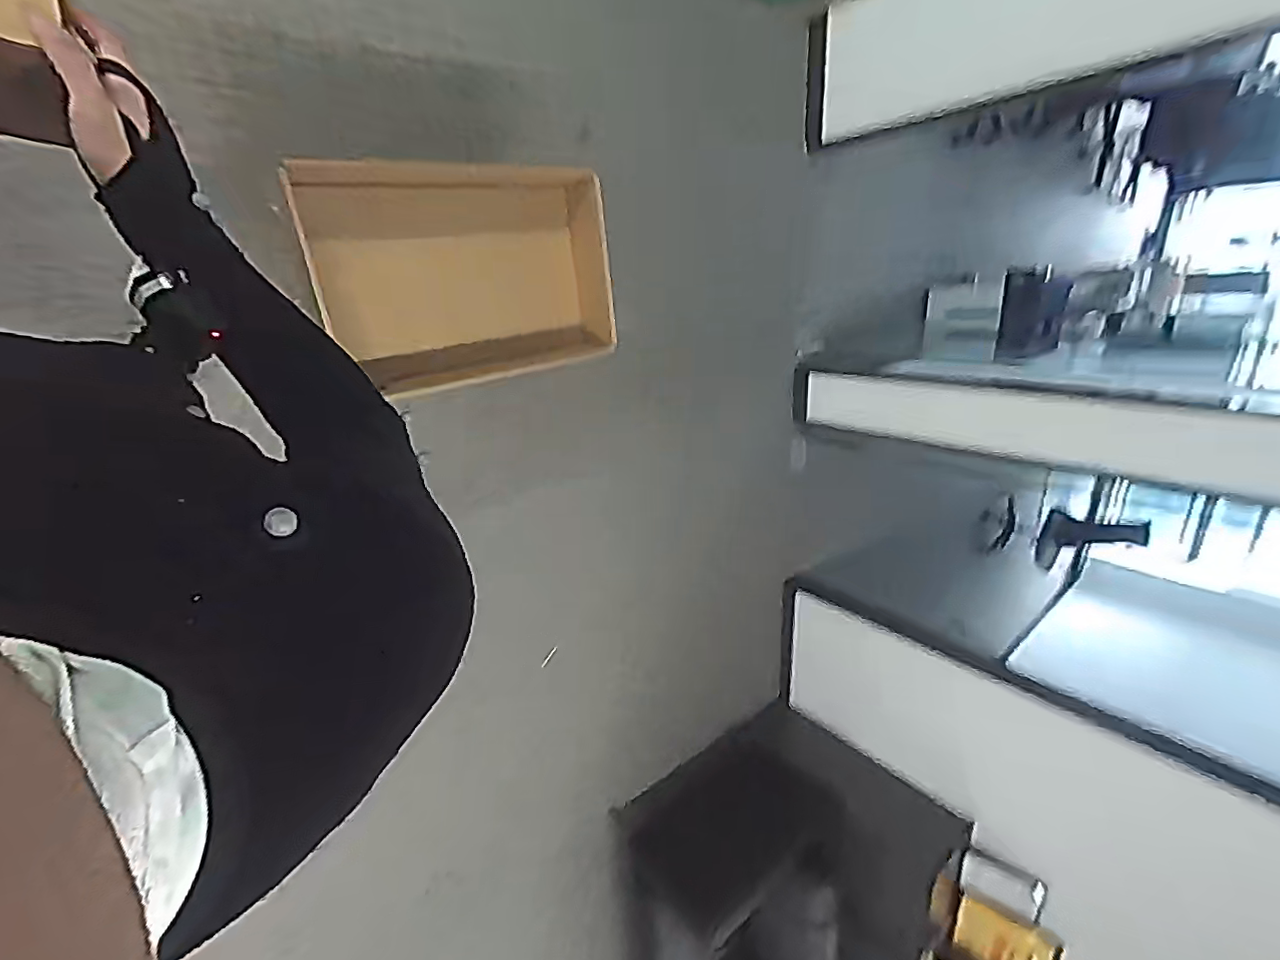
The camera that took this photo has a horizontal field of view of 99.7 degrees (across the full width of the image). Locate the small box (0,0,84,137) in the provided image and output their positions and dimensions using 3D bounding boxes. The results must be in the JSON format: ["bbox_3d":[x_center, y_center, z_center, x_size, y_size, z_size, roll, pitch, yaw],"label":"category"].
[{"bbox_3d":[-0.535,-0.389,0.385,0.168,0.176,0.179,-11,100,-39],"label":"small box"}]
